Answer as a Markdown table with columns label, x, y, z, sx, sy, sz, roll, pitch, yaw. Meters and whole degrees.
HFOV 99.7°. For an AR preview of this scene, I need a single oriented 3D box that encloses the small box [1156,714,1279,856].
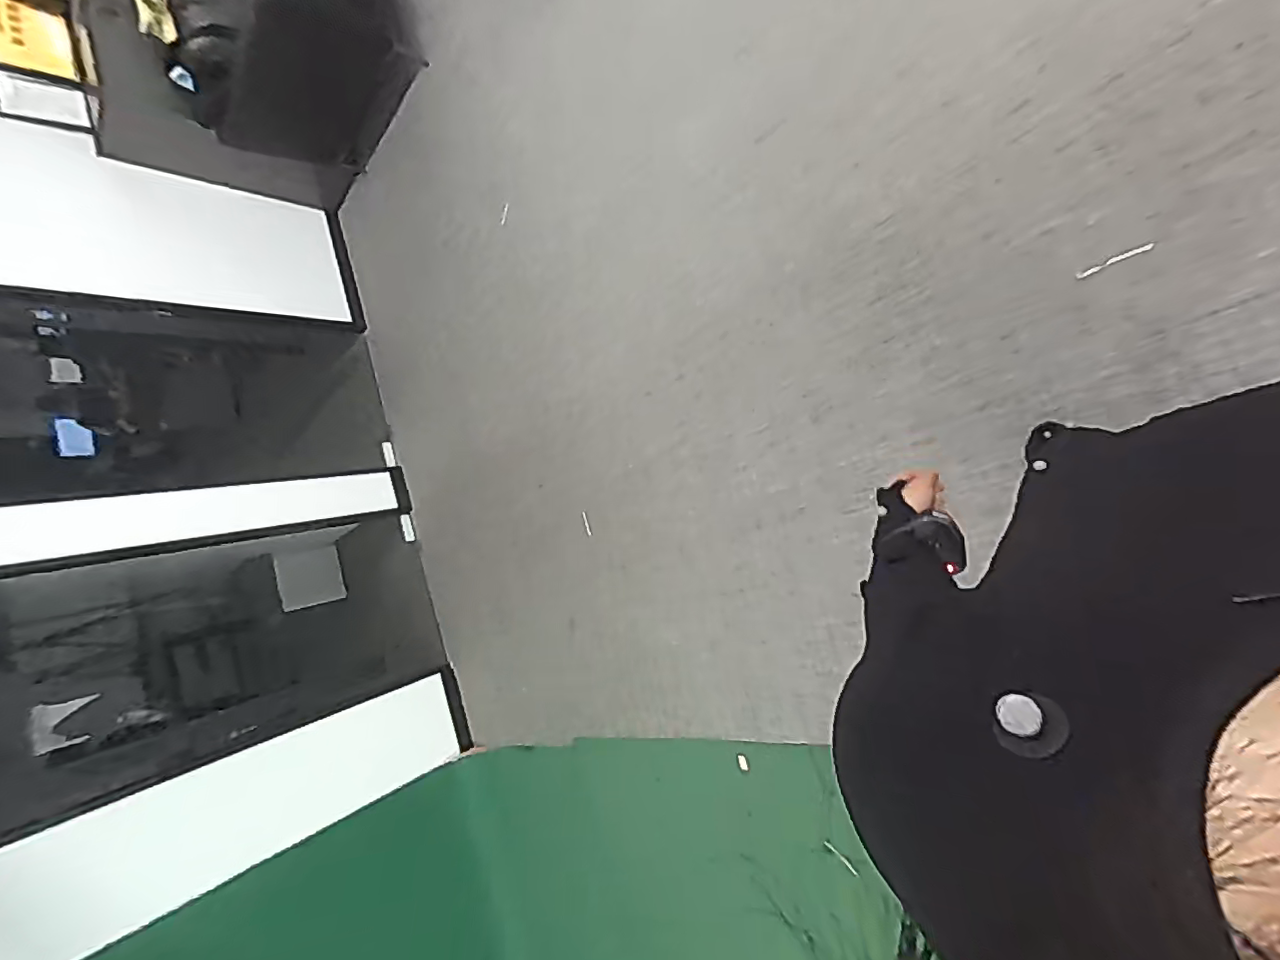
| label | x | y | z | sx | sy | sz | roll | pitch | yaw |
| --- | --- | --- | --- | --- | --- | --- | --- | --- | --- |
| small box | 1.063 | 0.532 | 0.962 | 0.179 | 0.176 | 0.168 | -21 | 80 | 42 |
